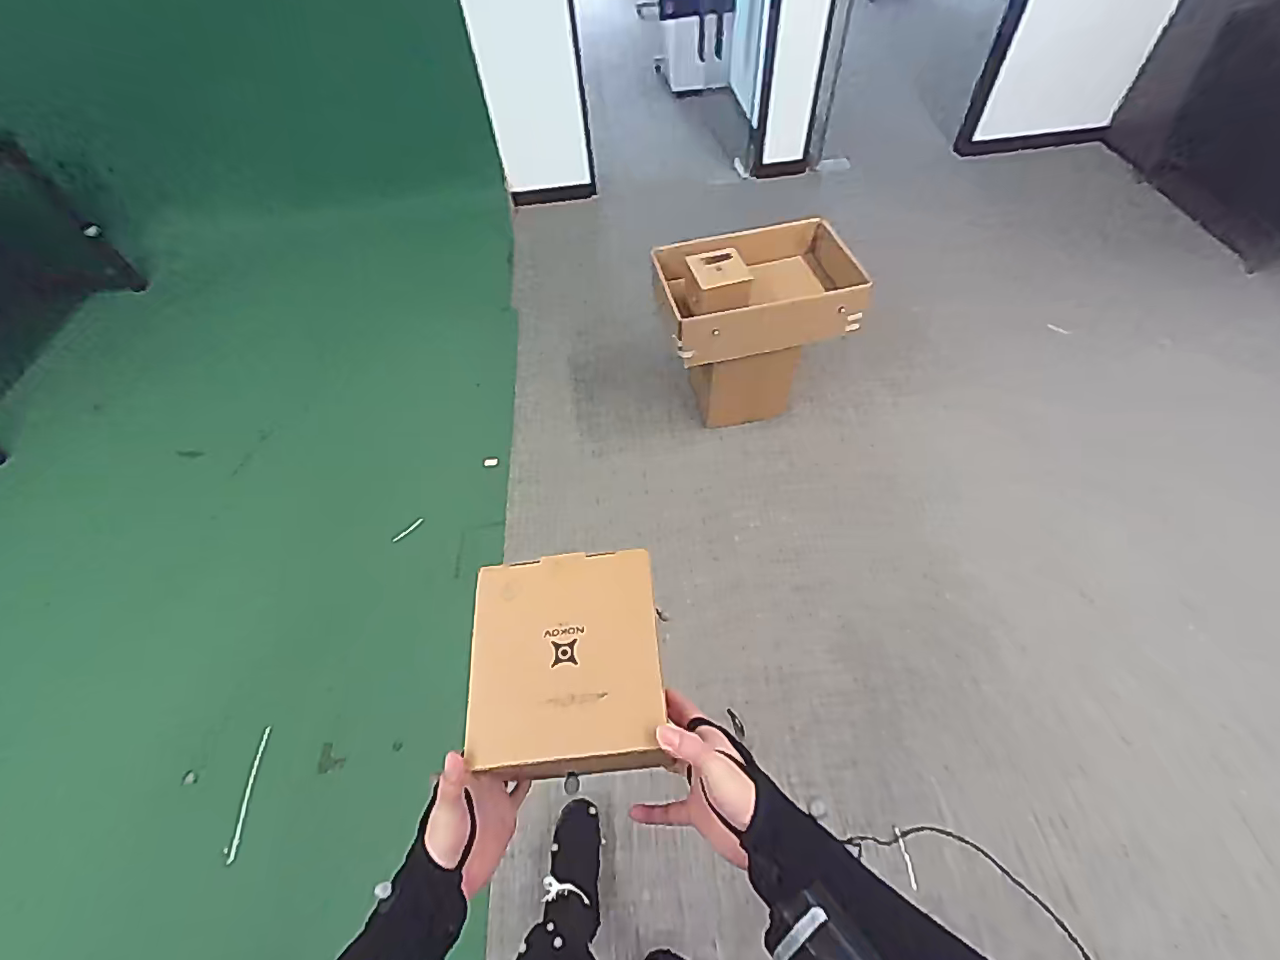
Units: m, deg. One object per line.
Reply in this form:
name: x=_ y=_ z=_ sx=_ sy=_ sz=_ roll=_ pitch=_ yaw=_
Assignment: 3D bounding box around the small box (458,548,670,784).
small box: x=-0.060 y=0.186 z=0.526 sx=0.168 sy=0.176 sz=0.179 roll=-5 pitch=57 yaw=1
